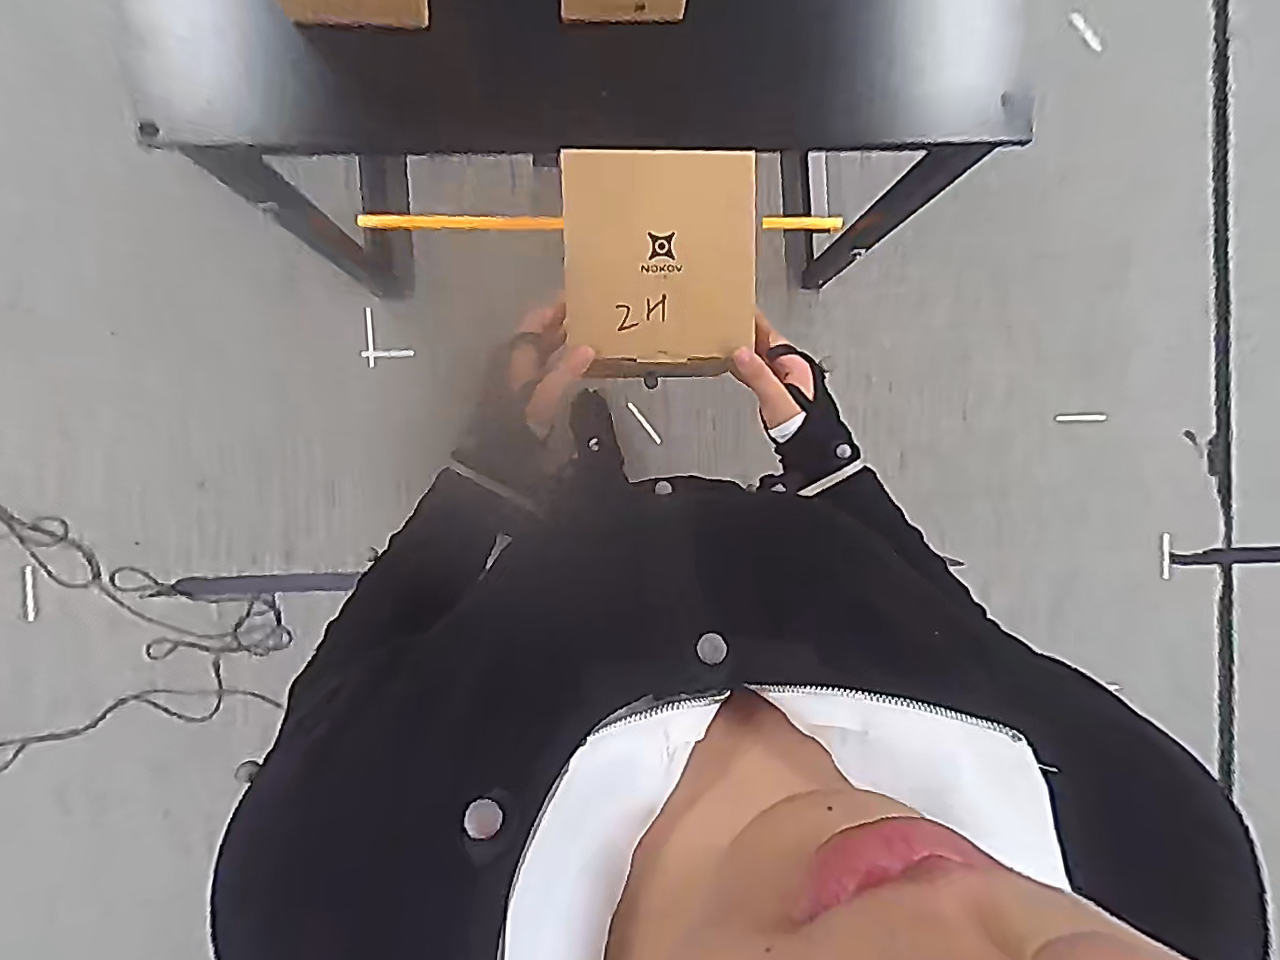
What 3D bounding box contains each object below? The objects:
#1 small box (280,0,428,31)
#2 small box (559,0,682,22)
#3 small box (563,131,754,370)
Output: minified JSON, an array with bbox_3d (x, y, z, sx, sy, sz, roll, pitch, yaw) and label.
[{"bbox_3d":[-0.362,-0.669,0.627,0.179,0.176,0.168,-1,92,-5],"label":"small box"},{"bbox_3d":[-0.027,-0.701,0.652,0.168,0.176,0.179,-4,92,-4],"label":"small box"},{"bbox_3d":[0.011,-0.210,0.538,0.168,0.176,0.179,-1,95,-3],"label":"small box"}]
